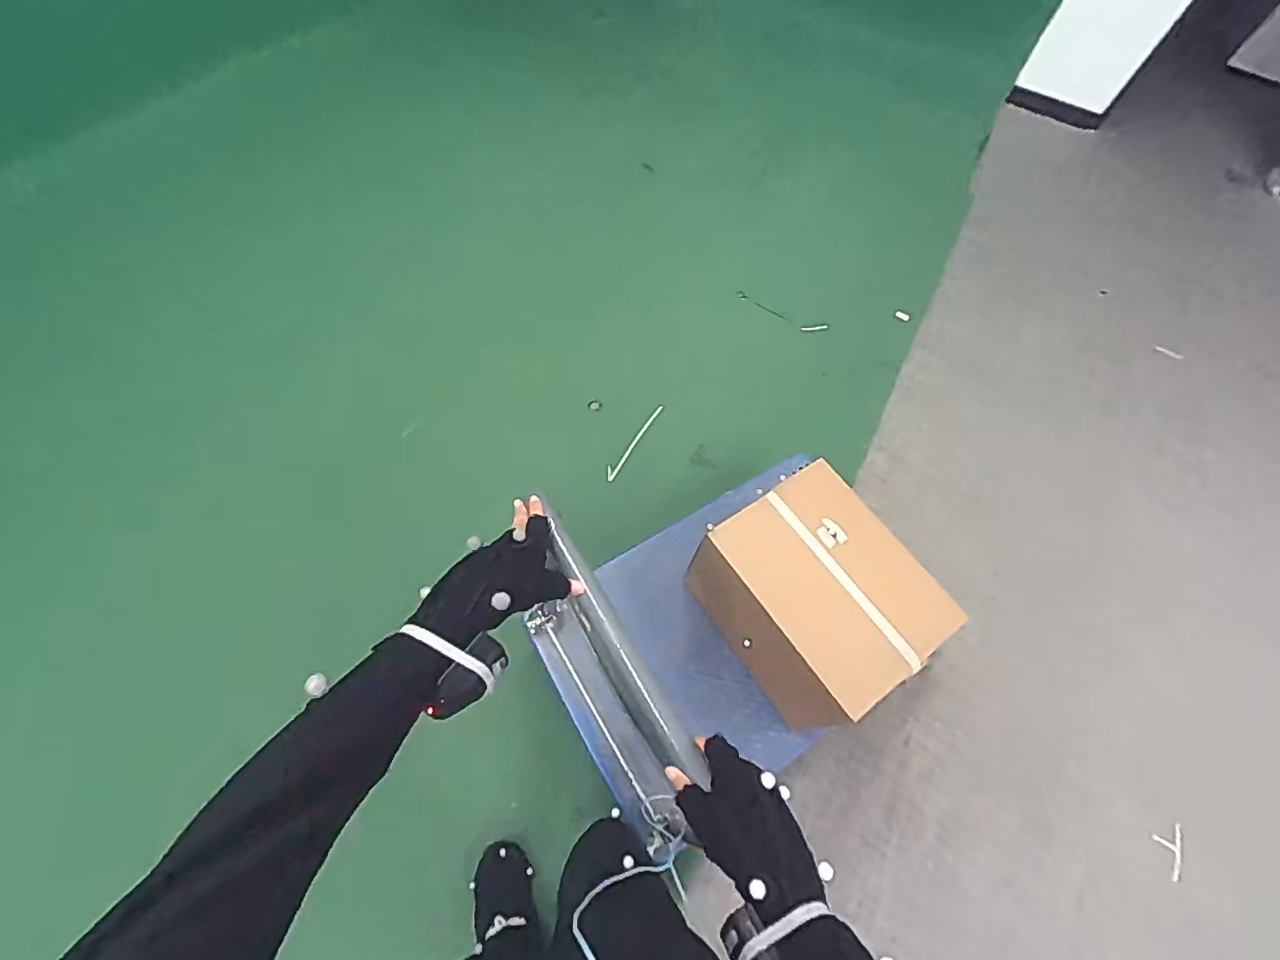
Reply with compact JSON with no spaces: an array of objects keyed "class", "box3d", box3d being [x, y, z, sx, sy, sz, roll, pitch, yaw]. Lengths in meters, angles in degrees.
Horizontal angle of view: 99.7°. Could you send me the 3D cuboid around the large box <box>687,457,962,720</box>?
[{"class":"large box","box3d":[0.356,0.237,1.155,0.320,0.320,0.408,-31,68,-19]}]
